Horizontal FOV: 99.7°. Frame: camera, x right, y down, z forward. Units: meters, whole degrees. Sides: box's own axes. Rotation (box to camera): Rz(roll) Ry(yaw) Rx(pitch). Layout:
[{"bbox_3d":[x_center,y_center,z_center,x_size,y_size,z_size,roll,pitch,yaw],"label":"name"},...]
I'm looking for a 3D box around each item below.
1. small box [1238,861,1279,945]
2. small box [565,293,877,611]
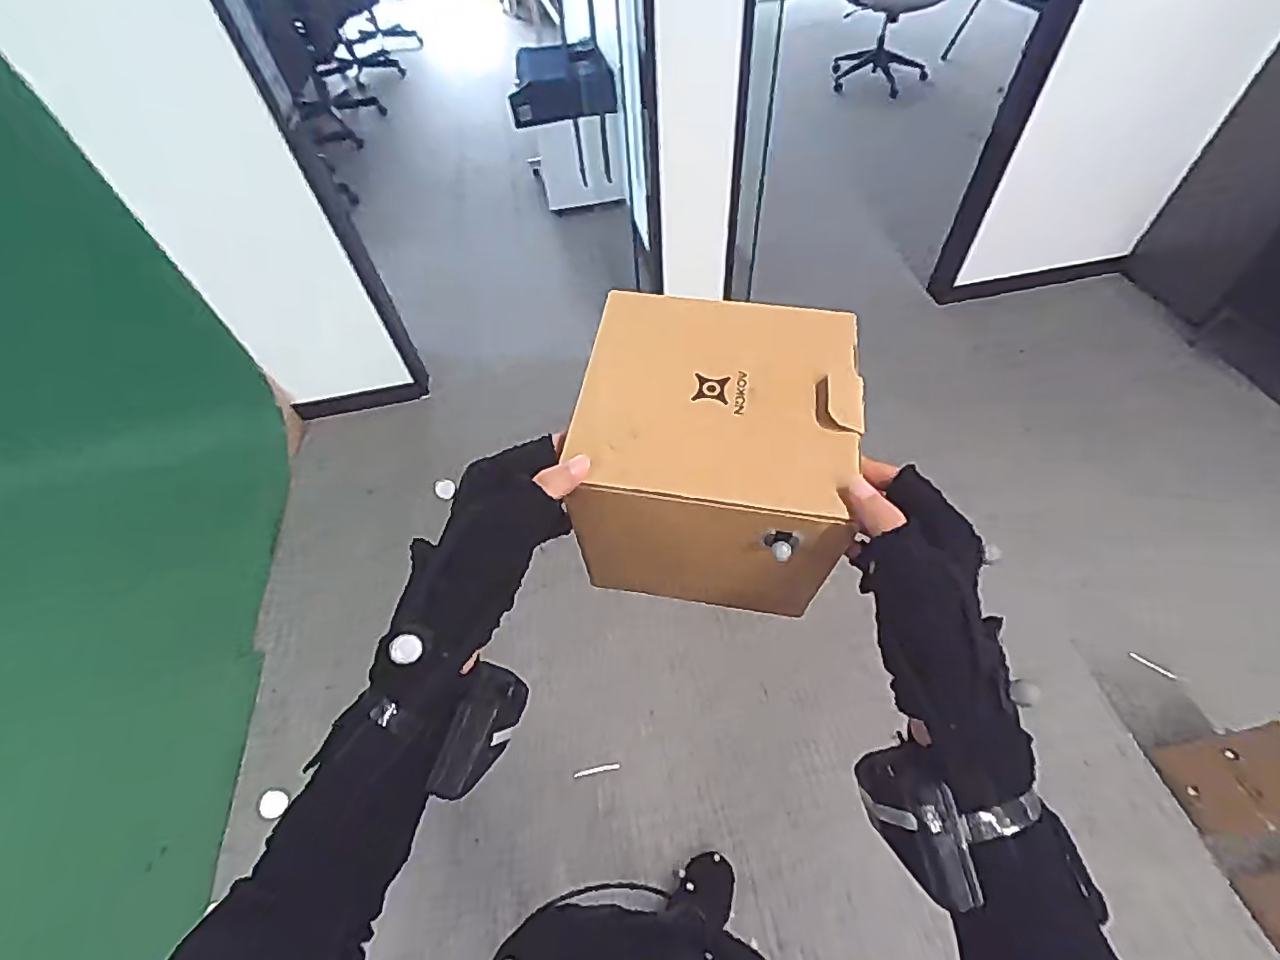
[{"bbox_3d":[1.303,0.805,0.999,0.179,0.176,0.168,-12,53,-5],"label":"small box"},{"bbox_3d":[0.057,-0.013,0.406,0.179,0.176,0.168,8,59,6],"label":"small box"}]
